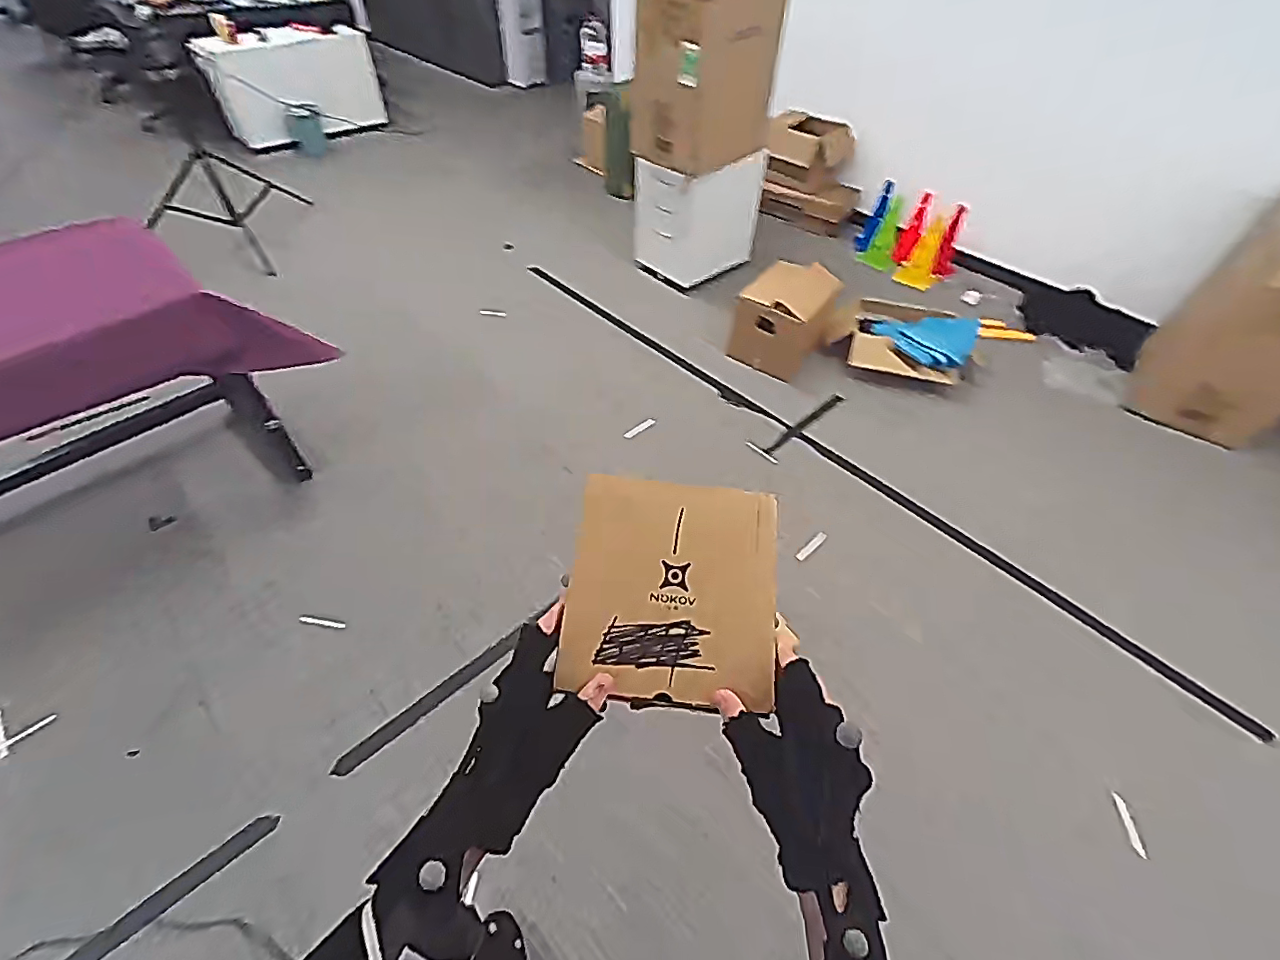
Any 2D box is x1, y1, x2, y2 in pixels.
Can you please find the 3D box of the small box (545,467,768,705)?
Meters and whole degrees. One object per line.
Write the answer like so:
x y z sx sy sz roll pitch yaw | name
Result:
0.017 0.107 0.503 0.168 0.176 0.179 6 67 1 | small box

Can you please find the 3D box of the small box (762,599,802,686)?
0.317 0.469 1.510 0.179 0.176 0.168 -21 52 -19 | small box
